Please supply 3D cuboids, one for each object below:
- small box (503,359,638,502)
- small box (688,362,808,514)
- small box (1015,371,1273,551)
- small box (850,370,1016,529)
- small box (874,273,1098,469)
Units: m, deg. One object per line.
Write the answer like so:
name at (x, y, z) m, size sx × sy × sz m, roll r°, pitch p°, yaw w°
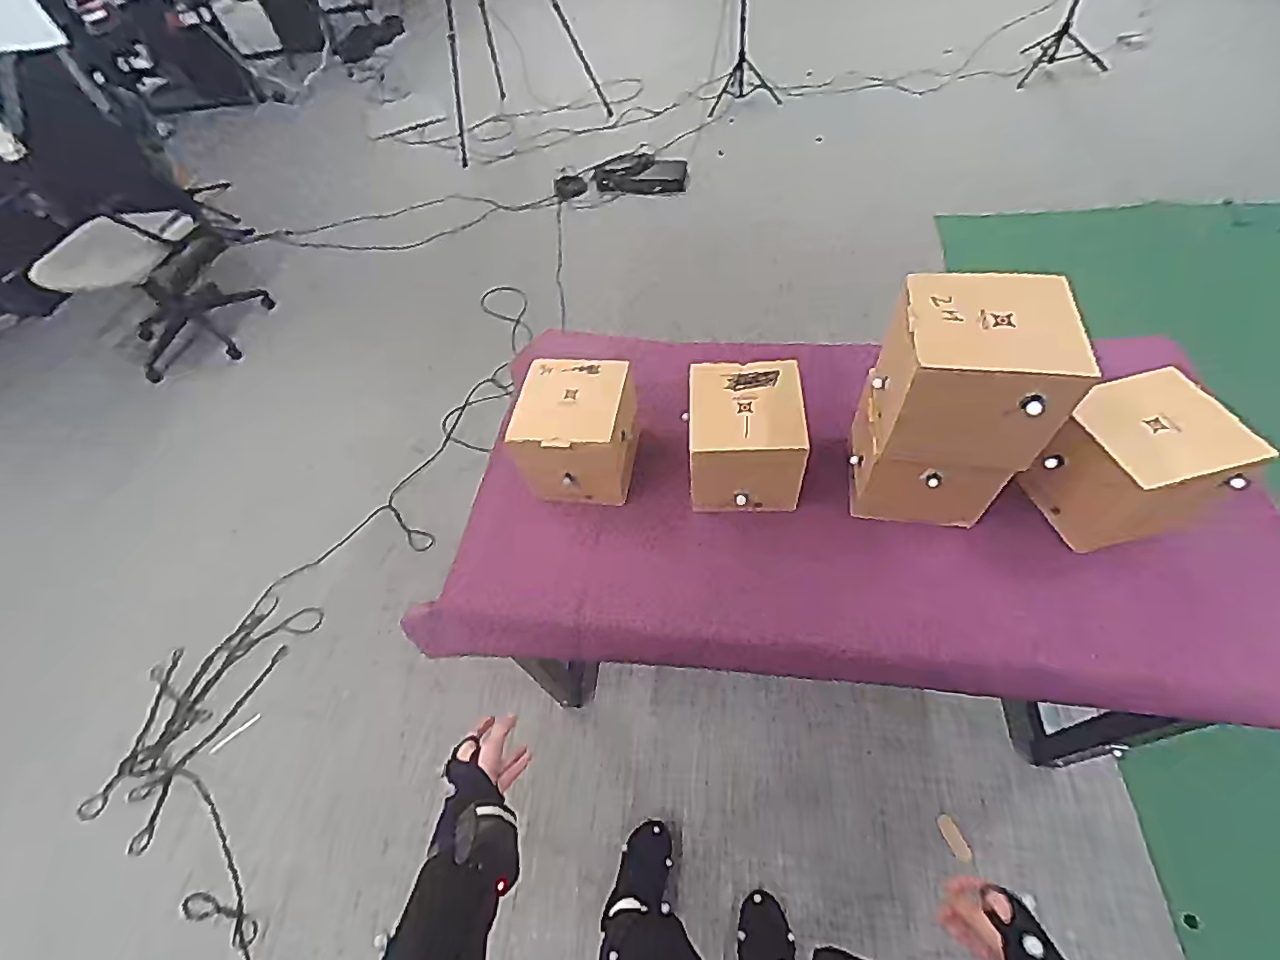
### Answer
small box at (-0.102, -0.079, 0.899) m, size 0.168 × 0.176 × 0.179 m, roll 4°, pitch 56°, yaw 10°
small box at (0.162, -0.064, 0.853) m, size 0.168 × 0.176 × 0.179 m, roll 0°, pitch 56°, yaw 8°
small box at (0.669, -0.020, 0.755) m, size 0.179 × 0.176 × 0.168 m, roll -14°, pitch 54°, yaw -2°
small box at (0.416, -0.042, 0.805) m, size 0.179 × 0.176 × 0.168 m, roll 6°, pitch 56°, yaw 12°
small box at (0.402, -0.129, 0.666) m, size 0.179 × 0.176 × 0.168 m, roll 6°, pitch 56°, yaw 12°
